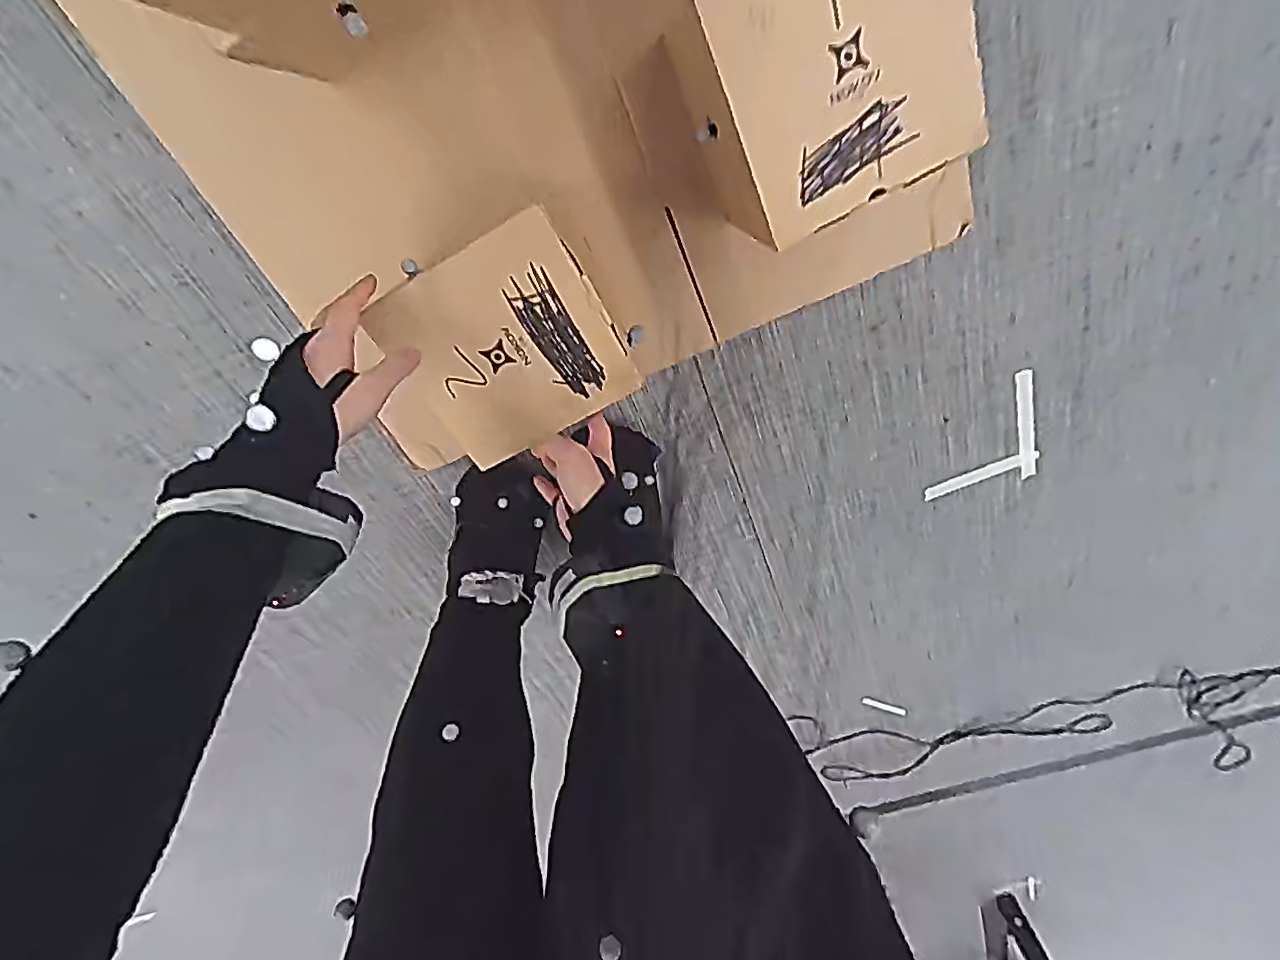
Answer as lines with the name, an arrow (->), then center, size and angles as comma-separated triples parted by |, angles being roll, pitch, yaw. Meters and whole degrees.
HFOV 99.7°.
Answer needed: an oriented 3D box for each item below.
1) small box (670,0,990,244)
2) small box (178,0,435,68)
small box -> 0.137, -0.320, 0.428 | 0.168, 0.176, 0.179 | -25, 120, 11
small box -> -0.226, -0.402, 0.345 | 0.179, 0.176, 0.168 | -25, 121, 12
